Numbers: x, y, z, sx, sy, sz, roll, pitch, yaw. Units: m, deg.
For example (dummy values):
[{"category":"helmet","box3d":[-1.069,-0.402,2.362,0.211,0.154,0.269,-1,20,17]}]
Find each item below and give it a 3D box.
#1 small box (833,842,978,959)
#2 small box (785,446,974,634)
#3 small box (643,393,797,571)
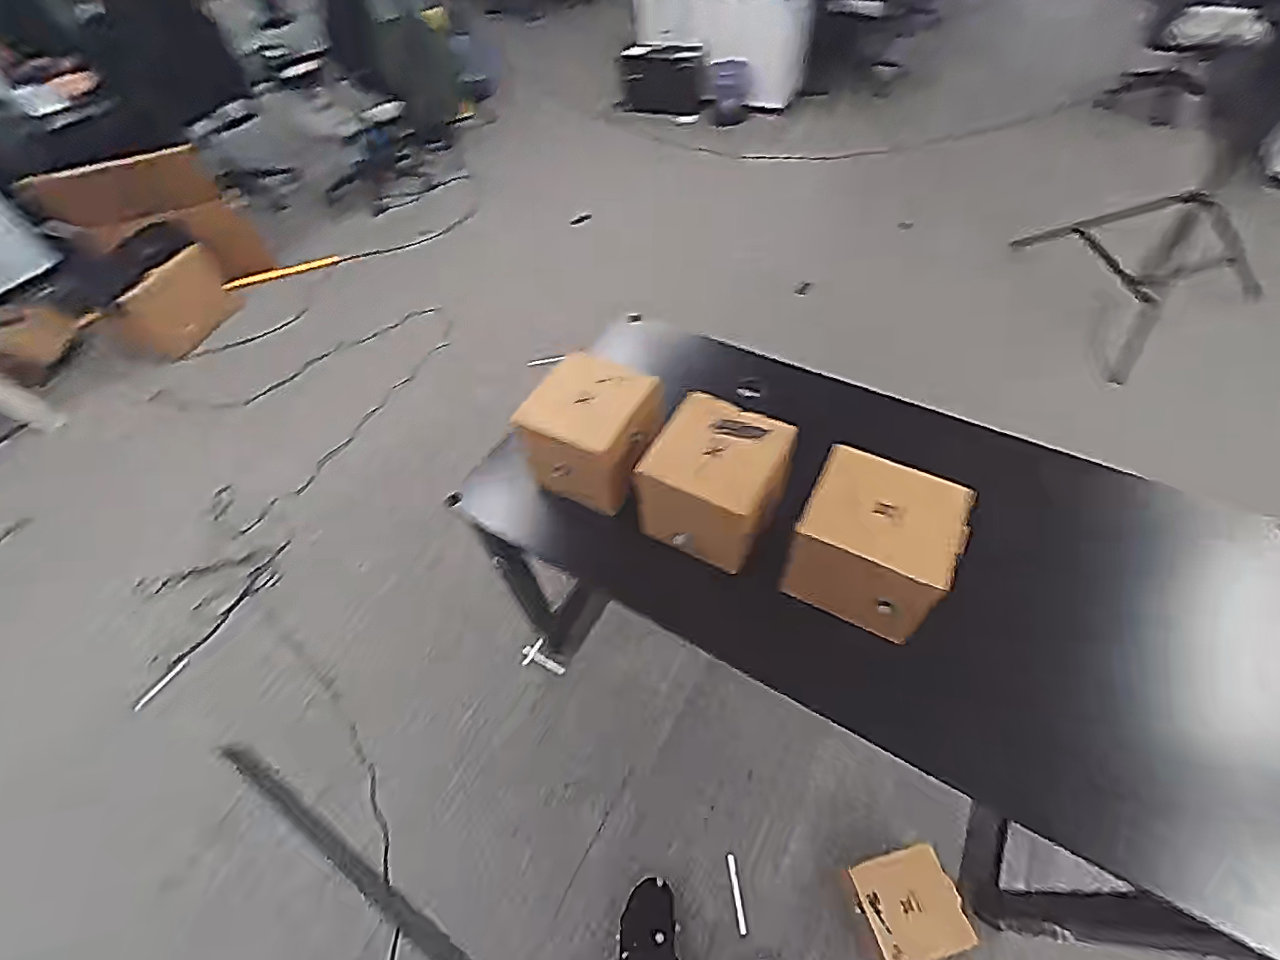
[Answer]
[{"category":"small box","box3d":[0.514,0.843,1.076,0.179,0.176,0.168,-14,53,-6]},{"category":"small box","box3d":[0.320,0.089,0.747,0.179,0.176,0.168,23,57,21]},{"category":"small box","box3d":[0.118,0.004,0.825,0.168,0.176,0.179,24,59,21]}]
